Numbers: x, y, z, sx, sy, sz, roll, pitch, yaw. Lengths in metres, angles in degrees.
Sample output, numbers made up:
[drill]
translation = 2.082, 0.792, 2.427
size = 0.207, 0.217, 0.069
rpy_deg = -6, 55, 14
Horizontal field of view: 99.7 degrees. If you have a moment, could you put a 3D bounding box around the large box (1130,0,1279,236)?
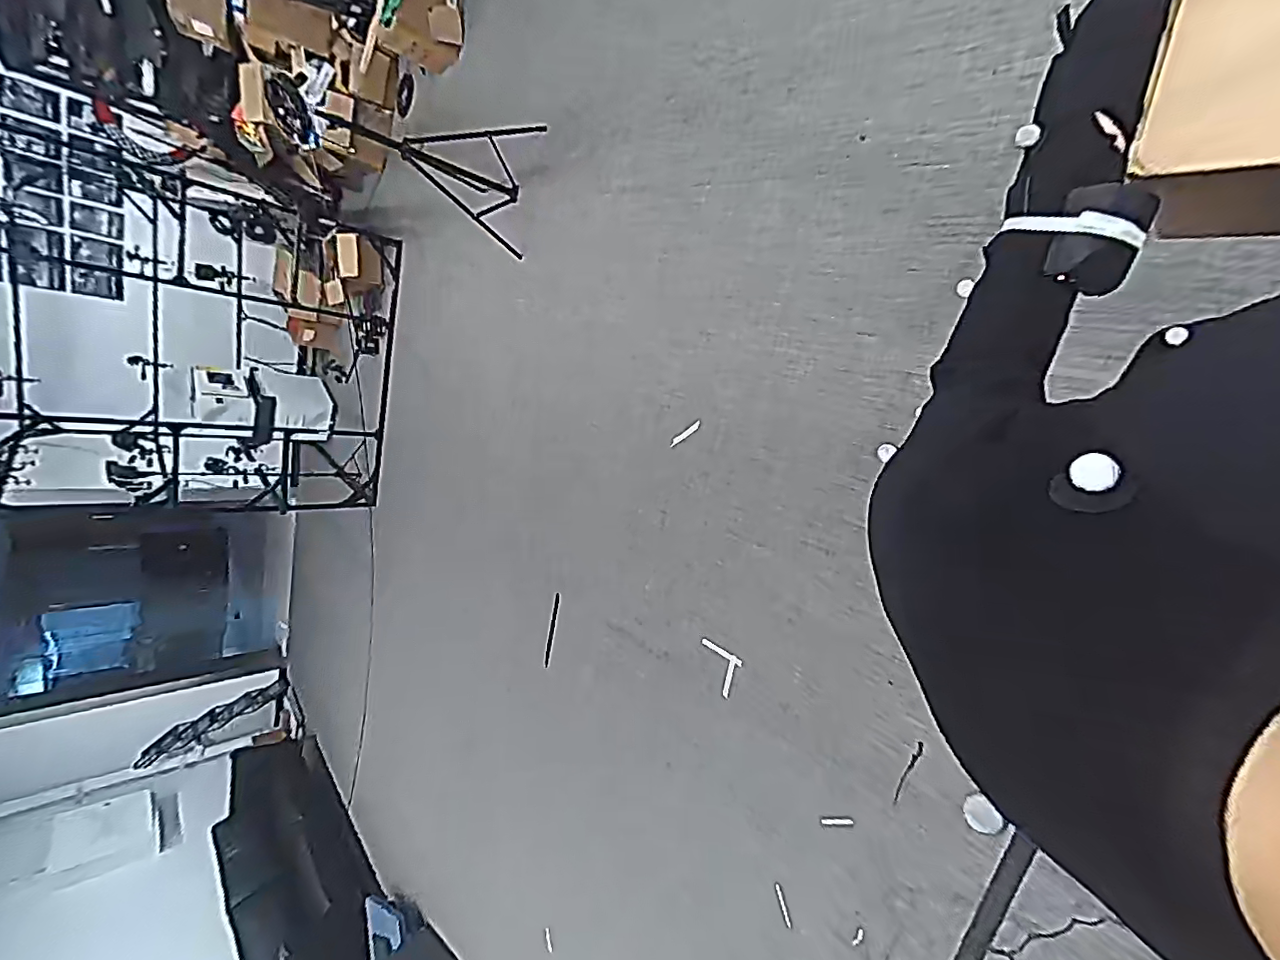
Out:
[large box]
translation = 0.608, -0.346, 0.323
size = 0.408, 0.320, 0.320
rpy_deg = 20, 114, 42
